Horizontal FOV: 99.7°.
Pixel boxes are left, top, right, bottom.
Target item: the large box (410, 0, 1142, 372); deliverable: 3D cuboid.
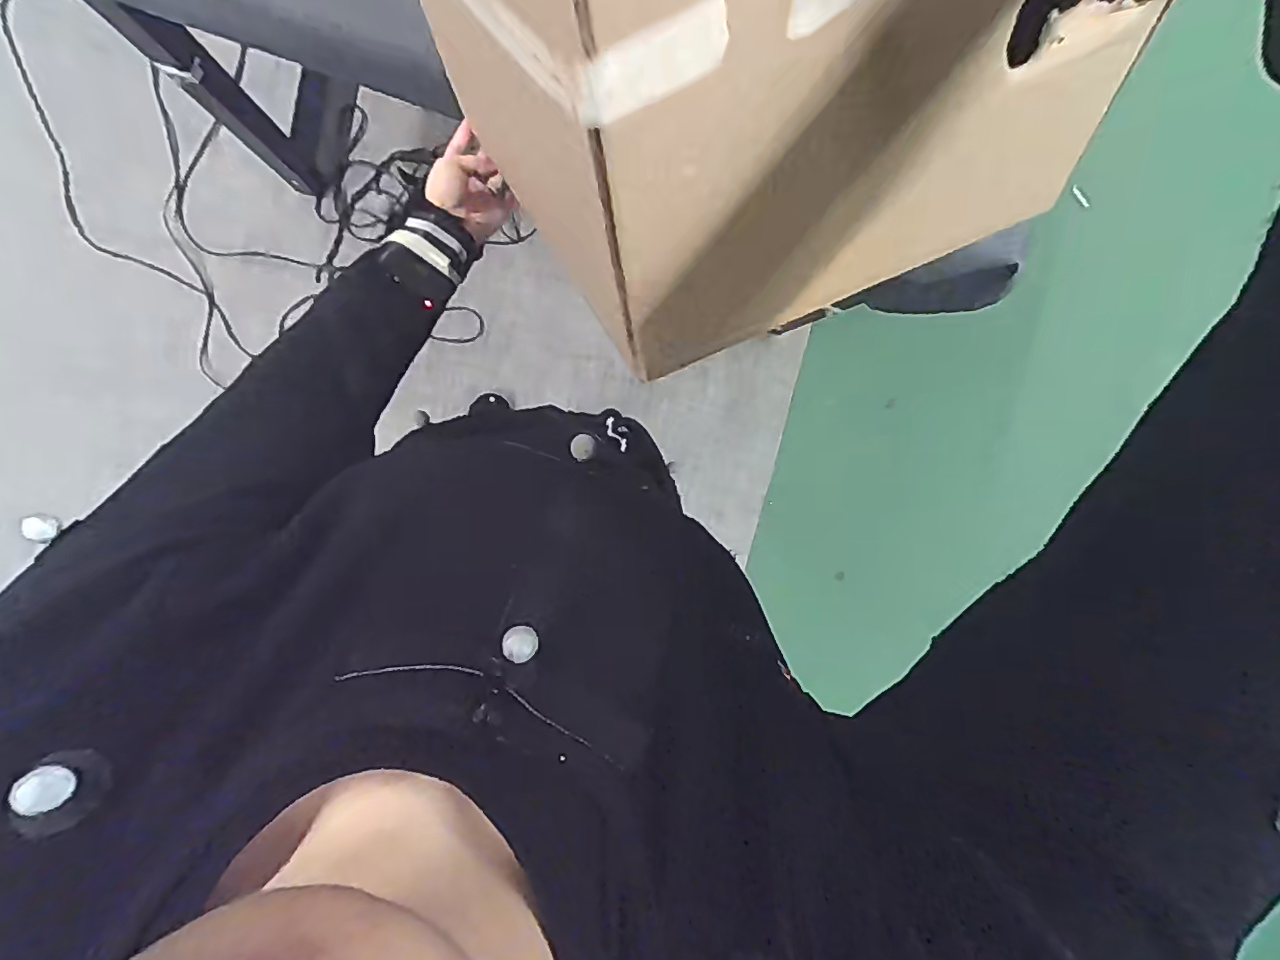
[{"bbox_3d":[0.034,-0.346,0.323,0.320,0.320,0.408,-27,59,-9],"label":"large box"}]
